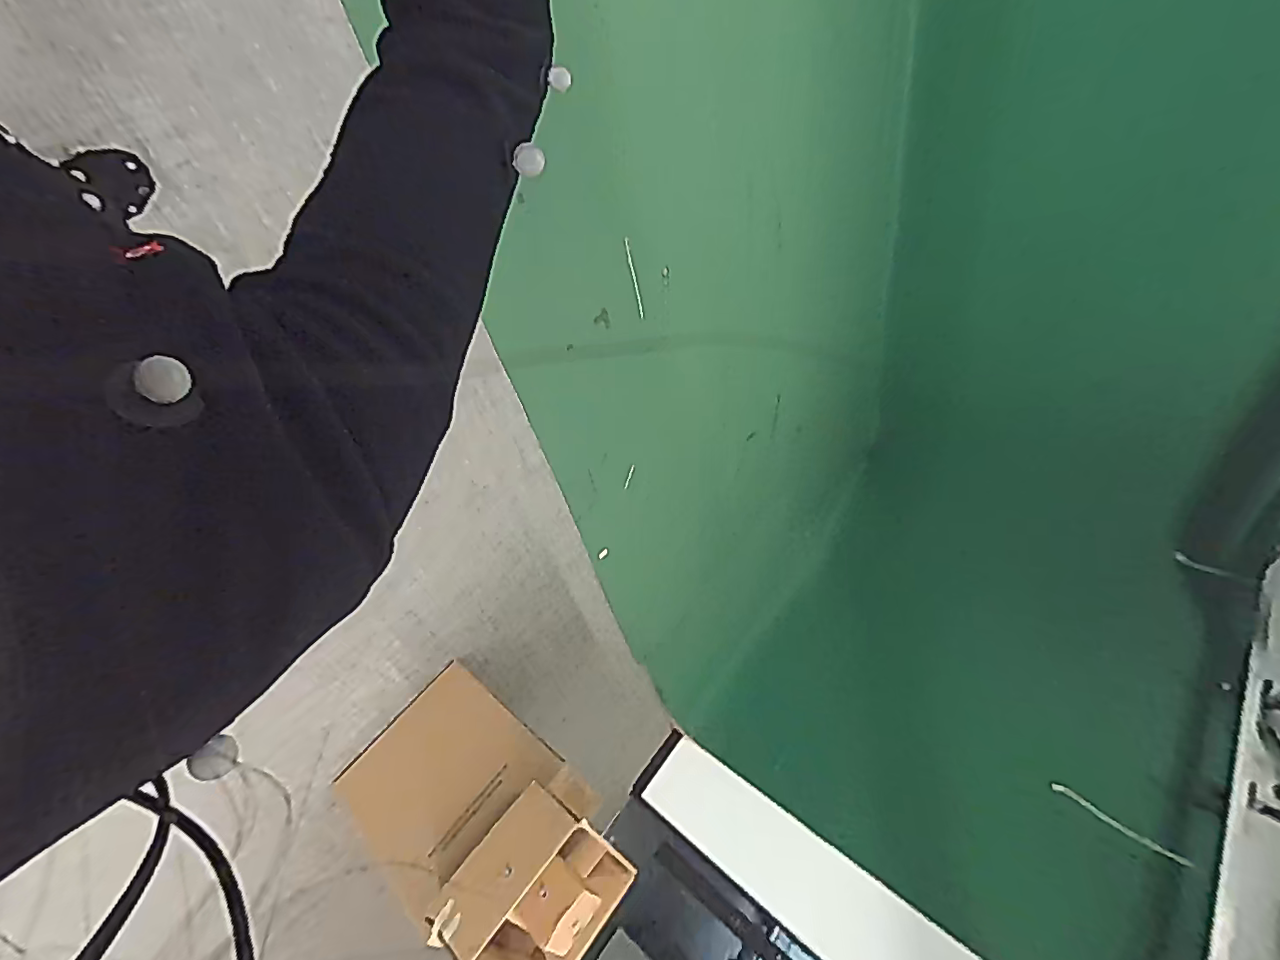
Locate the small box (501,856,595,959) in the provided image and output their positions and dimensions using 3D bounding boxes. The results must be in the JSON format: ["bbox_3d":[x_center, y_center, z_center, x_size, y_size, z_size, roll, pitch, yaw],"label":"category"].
[{"bbox_3d":[-0.260,1.210,1.529,0.168,0.176,0.179,-45,138,-26],"label":"small box"}]
